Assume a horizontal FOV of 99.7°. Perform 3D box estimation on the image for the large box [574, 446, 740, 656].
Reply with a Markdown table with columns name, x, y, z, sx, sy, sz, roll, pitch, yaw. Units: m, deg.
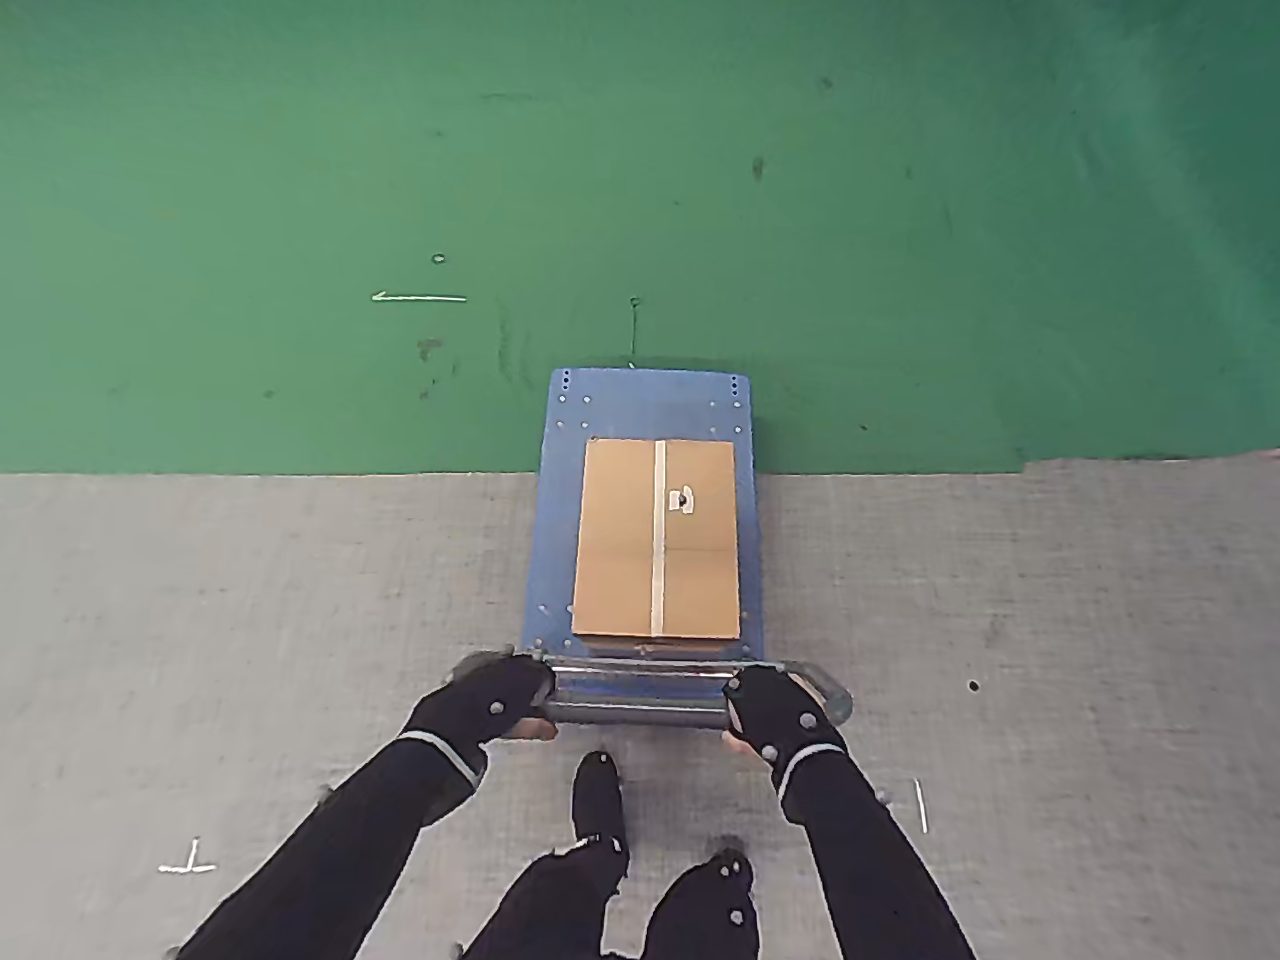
| name | x | y | z | sx | sy | sz | roll | pitch | yaw |
| --- | --- | --- | --- | --- | --- | --- | --- | --- | --- |
| large box | 0.036 | 0.172 | 1.210 | 0.320 | 0.320 | 0.408 | 2 | 67 | 0 |
